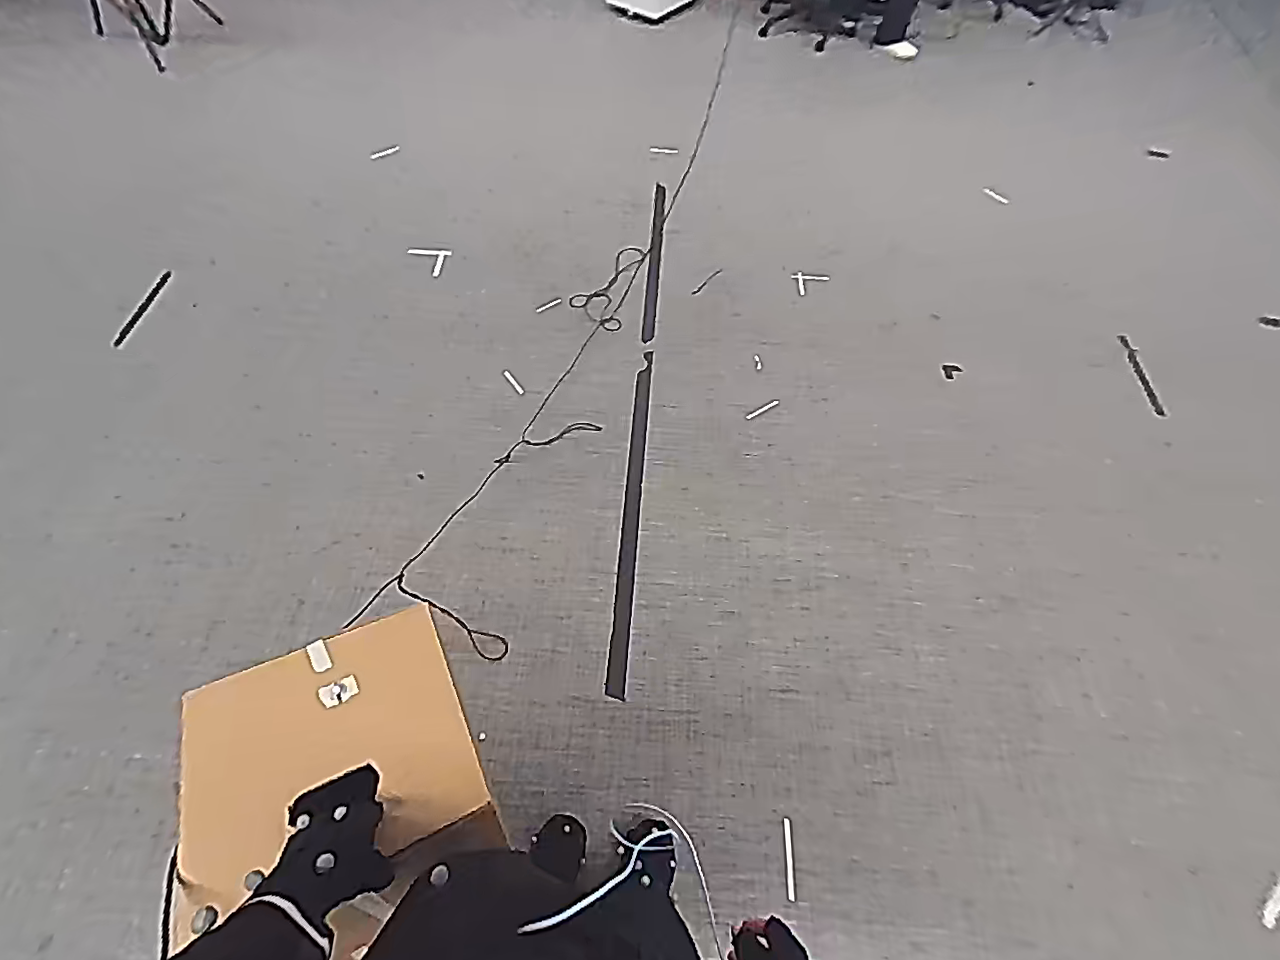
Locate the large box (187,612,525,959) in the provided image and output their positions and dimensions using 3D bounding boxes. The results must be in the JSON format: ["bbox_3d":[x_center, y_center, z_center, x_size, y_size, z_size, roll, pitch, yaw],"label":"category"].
[{"bbox_3d":[-0.395,0.474,0.813,0.320,0.408,0.320,-19,49,-22],"label":"large box"}]
